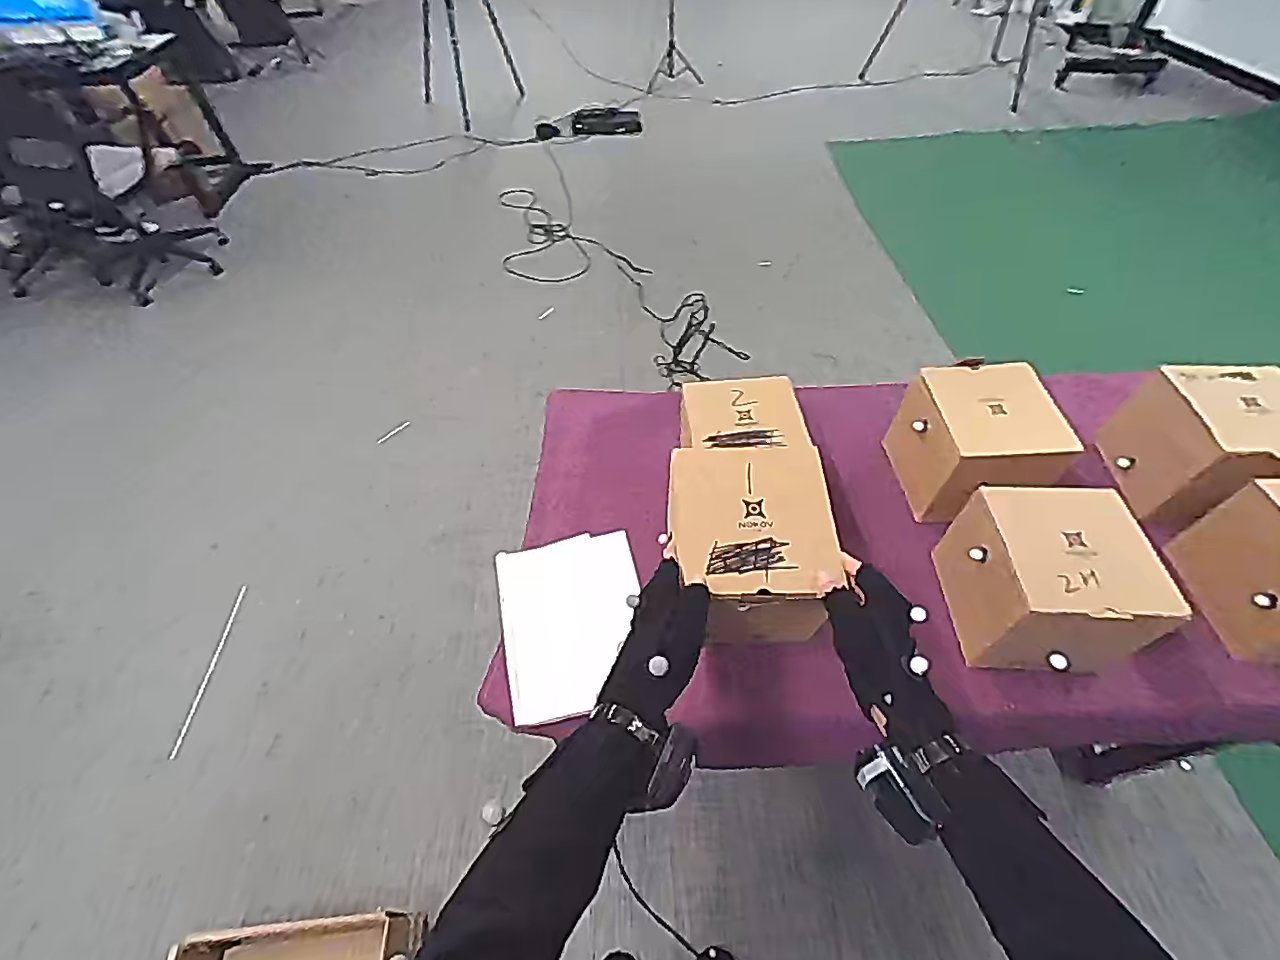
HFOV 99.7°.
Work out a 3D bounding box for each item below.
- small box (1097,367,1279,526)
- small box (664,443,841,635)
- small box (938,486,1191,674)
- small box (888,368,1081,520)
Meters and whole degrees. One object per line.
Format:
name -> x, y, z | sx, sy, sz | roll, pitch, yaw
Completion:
small box -> 0.850, -0.047, 0.810 | 0.168, 0.176, 0.179 | 3, 53, 5
small box -> 0.113, 0.076, 0.626 | 0.168, 0.176, 0.179 | -1, 59, 0
small box -> 0.511, 0.128, 0.691 | 0.168, 0.176, 0.179 | 1, 51, 5
small box -> 0.510, -0.049, 0.835 | 0.168, 0.176, 0.179 | -3, 51, 1
